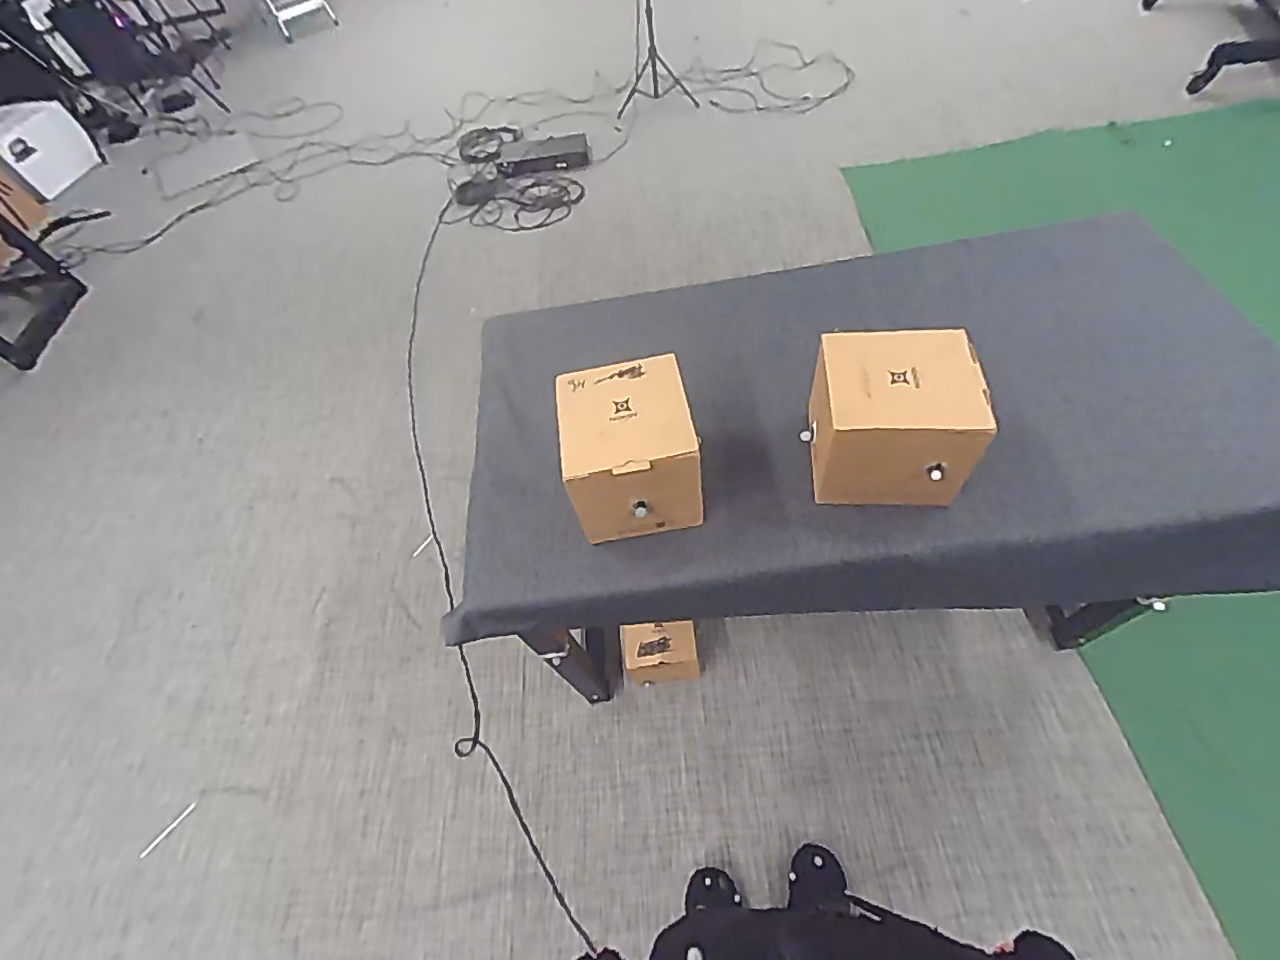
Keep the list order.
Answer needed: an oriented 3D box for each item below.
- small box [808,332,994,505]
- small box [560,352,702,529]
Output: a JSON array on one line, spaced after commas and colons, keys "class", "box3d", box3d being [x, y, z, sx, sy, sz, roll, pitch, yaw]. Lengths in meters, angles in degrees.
[{"class": "small box", "box3d": [0.329, -0.077, 0.723, 0.179, 0.176, 0.168, 1, 57, 10]}, {"class": "small box", "box3d": [-0.009, -0.045, 0.749, 0.168, 0.176, 0.179, -10, 56, 2]}]
